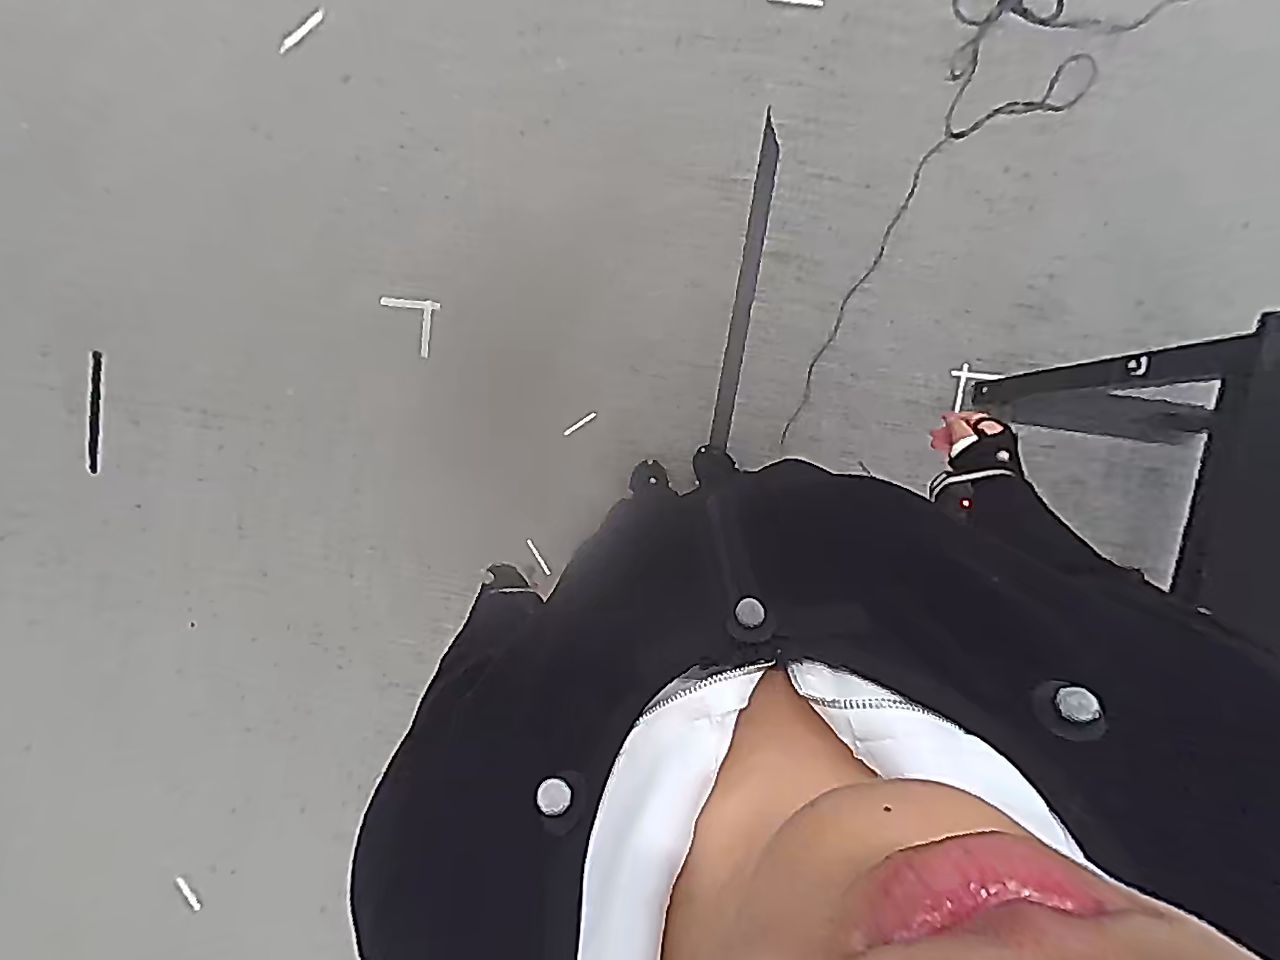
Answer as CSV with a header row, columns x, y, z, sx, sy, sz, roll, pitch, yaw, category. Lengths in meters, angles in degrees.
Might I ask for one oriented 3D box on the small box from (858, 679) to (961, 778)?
x,y,z,sx,sy,sz,roll,pitch,yaw,category
0.699,0.643,1.418,0.179,0.176,0.168,8,94,3,small box
